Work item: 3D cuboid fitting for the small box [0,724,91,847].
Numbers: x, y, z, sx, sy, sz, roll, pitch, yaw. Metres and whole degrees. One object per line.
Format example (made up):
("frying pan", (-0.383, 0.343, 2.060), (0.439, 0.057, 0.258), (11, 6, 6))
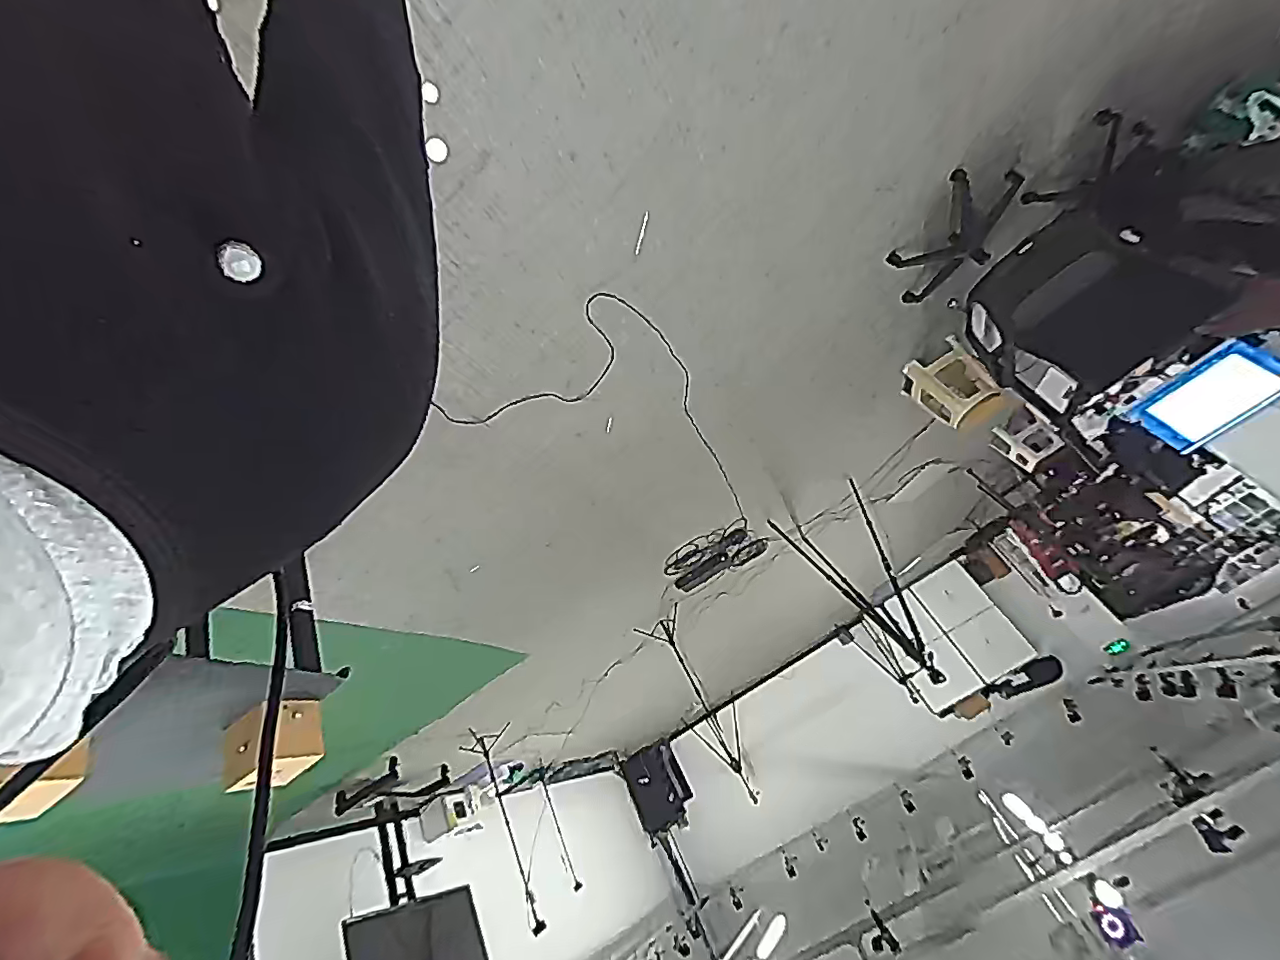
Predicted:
("small box", (-1.236, 0.600, 1.065), (0.179, 0.176, 0.168), (-37, 147, 11))

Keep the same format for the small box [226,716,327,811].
("small box", (-1.008, 0.778, 1.500), (0.179, 0.176, 0.168), (-38, 148, 9))
